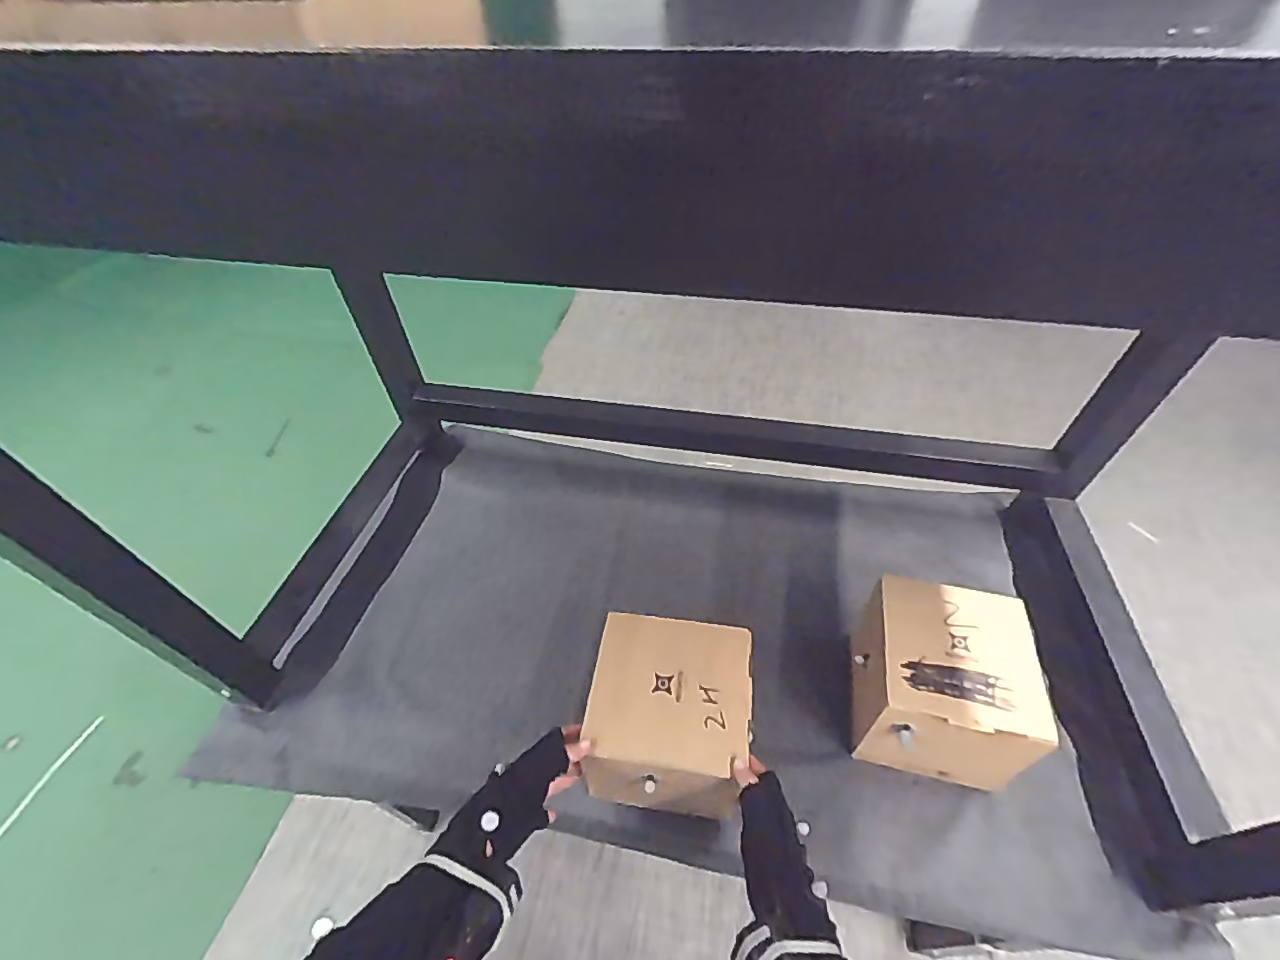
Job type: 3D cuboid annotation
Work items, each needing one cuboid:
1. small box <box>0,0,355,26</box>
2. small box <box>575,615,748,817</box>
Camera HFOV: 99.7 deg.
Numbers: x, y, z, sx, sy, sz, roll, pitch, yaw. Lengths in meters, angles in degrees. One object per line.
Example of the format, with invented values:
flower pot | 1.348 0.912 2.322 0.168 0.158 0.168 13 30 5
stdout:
small box | -0.196 -0.298 0.213 0.168 0.176 0.179 6 47 8
small box | 0.032 0.286 0.655 0.179 0.176 0.168 6 47 7
